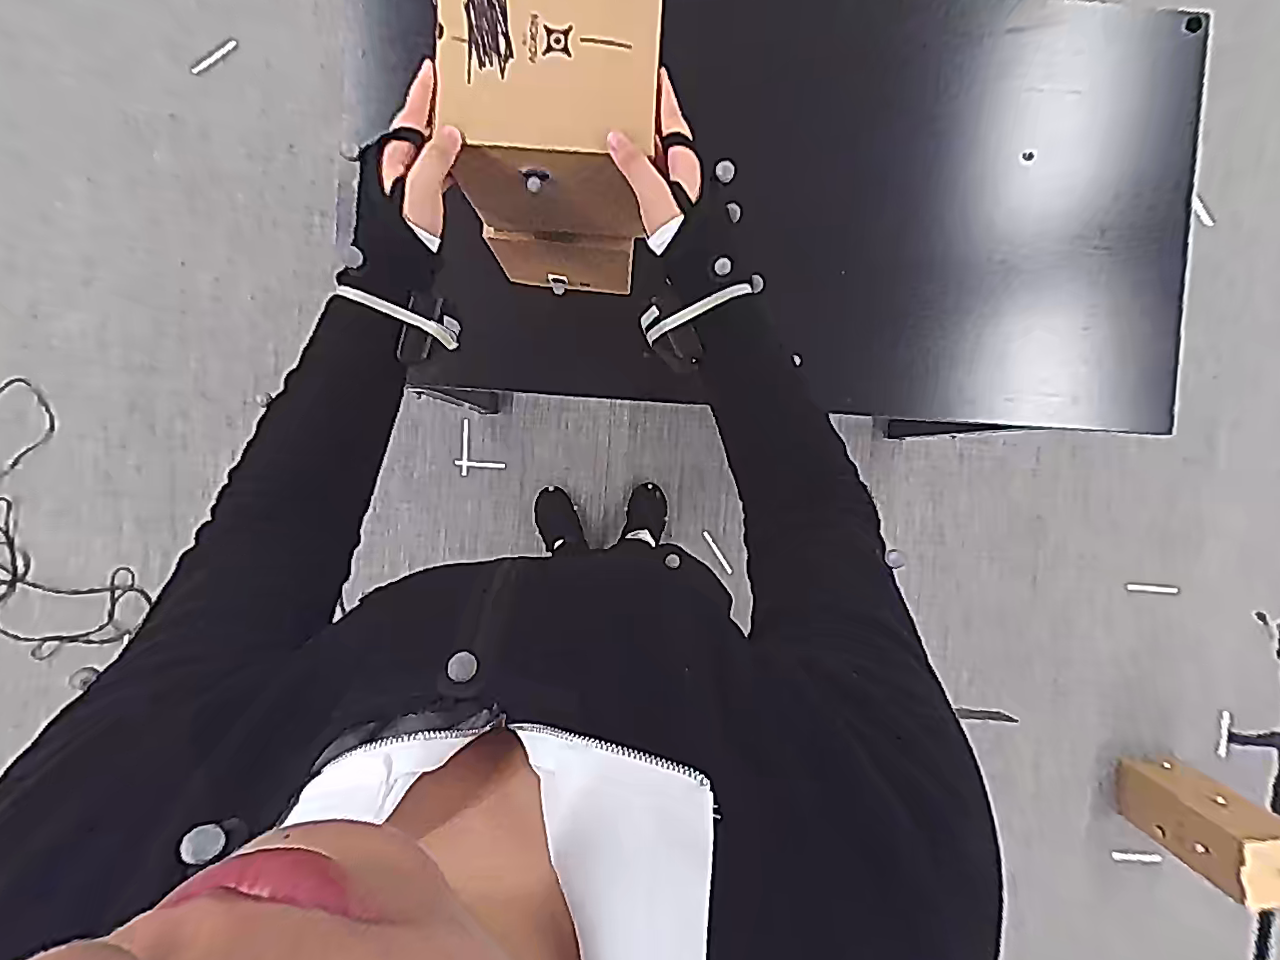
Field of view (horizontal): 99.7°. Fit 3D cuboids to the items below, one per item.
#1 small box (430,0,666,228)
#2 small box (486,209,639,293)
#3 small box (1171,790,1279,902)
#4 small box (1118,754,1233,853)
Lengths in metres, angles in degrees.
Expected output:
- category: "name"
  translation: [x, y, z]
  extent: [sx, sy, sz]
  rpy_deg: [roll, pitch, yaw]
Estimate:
- category: "small box"
  translation: [-0.071, -0.346, 0.490]
  extent: [0.179, 0.176, 0.168]
  rpy_deg: [3, 94, -2]
- category: "small box"
  translation: [-0.083, -0.351, 0.670]
  extent: [0.168, 0.176, 0.179]
  rpy_deg: [4, 93, -1]
- category: "small box"
  translation: [1.483, 0.902, 1.347]
  extent: [0.179, 0.176, 0.168]
  rpy_deg: [-3, 93, -1]
- category: "small box"
  translation: [1.486, 0.897, 1.511]
  extent: [0.168, 0.176, 0.179]
  rpy_deg: [-2, 93, -2]
